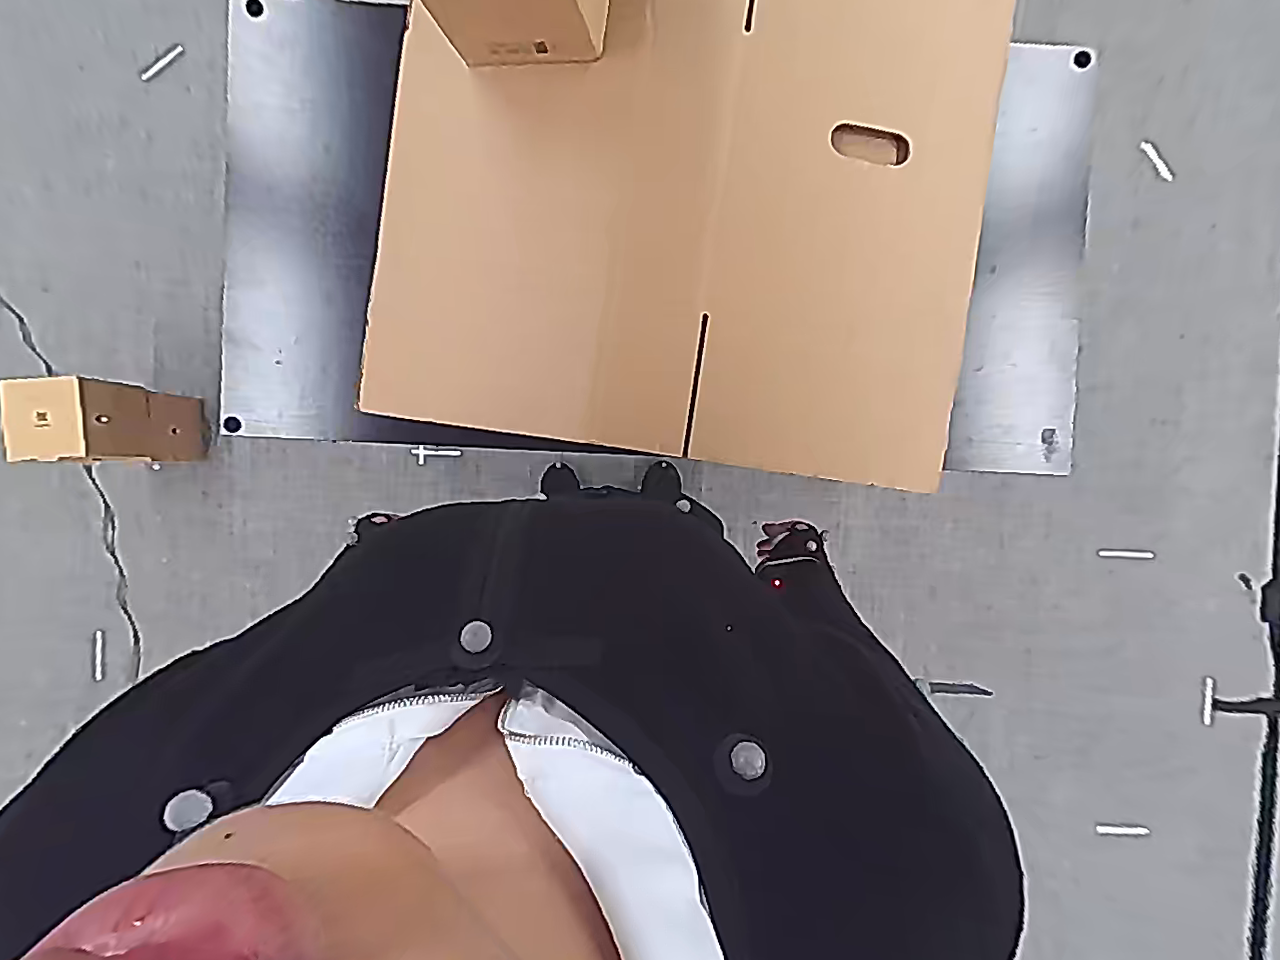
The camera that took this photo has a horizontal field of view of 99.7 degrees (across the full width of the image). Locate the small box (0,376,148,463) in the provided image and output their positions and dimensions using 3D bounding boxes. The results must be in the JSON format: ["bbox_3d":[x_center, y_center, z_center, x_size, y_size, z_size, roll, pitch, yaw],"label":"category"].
[{"bbox_3d":[-1.267,-0.131,1.222,0.168,0.176,0.179,-5,91,-2],"label":"small box"}]

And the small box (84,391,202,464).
[{"bbox_3d":[-1.269,-0.130,1.385,0.168,0.176,0.179,-1,92,-1],"label":"small box"}]

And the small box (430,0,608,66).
[{"bbox_3d":[-0.125,-0.544,0.515,0.168,0.176,0.179,9,90,14],"label":"small box"}]
